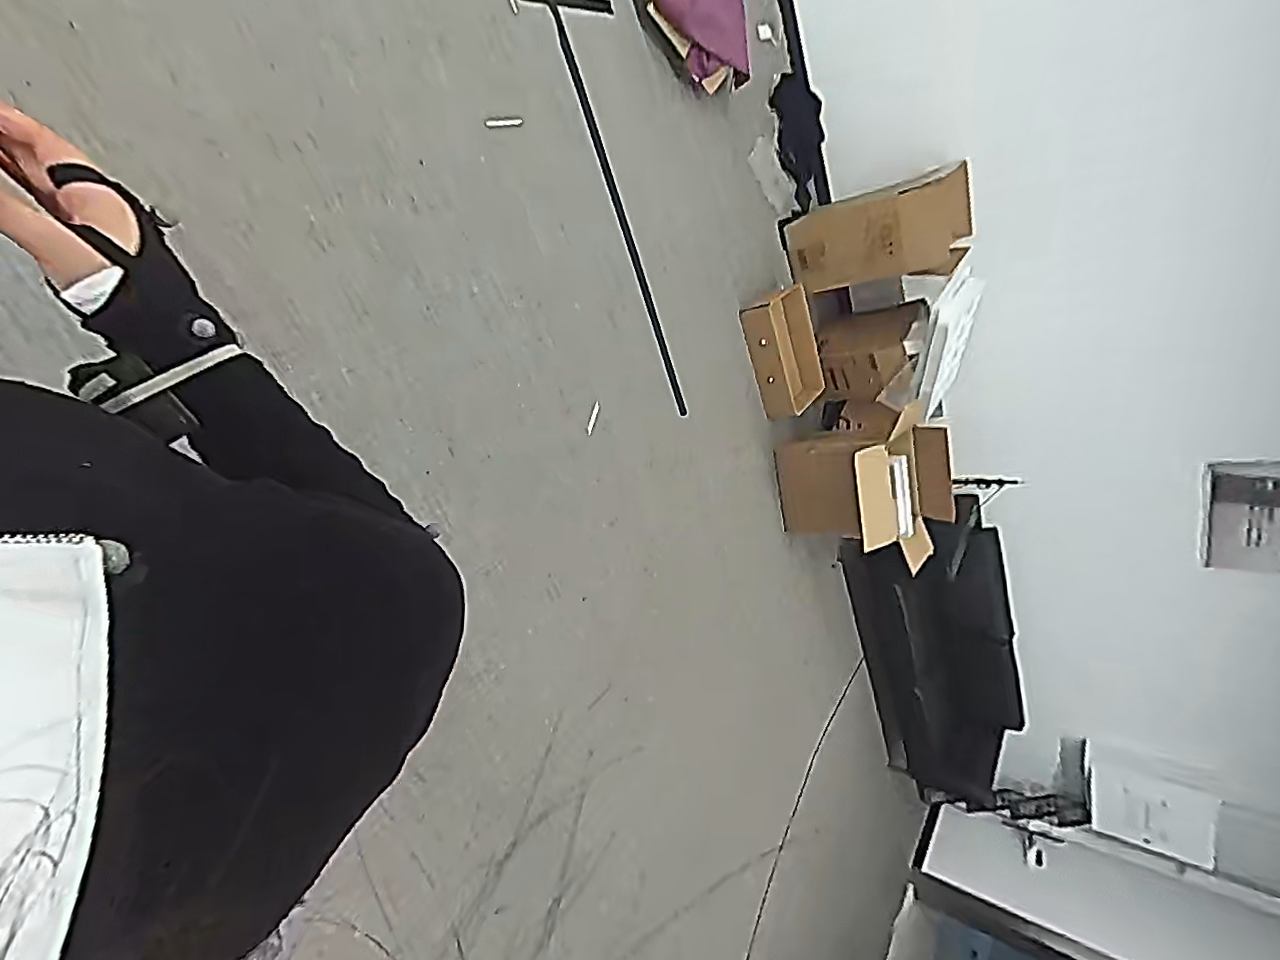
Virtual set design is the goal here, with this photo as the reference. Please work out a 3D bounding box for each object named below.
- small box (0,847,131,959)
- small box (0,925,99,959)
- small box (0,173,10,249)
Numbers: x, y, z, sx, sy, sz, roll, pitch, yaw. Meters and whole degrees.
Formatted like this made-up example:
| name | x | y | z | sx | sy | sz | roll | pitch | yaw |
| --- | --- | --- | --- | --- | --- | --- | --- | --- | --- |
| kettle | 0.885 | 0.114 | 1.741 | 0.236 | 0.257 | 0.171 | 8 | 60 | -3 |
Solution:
| name | x | y | z | sx | sy | sz | roll | pitch | yaw |
| --- | --- | --- | --- | --- | --- | --- | --- | --- | --- |
| small box | -0.762 | 0.603 | 0.651 | 0.179 | 0.176 | 0.168 | -38 | 116 | -38 |
| small box | -0.643 | 0.610 | 0.540 | 0.168 | 0.176 | 0.179 | -36 | 115 | -38 |
| small box | -0.501 | -0.231 | 0.305 | 0.179 | 0.176 | 0.168 | -10 | 107 | -45 |
